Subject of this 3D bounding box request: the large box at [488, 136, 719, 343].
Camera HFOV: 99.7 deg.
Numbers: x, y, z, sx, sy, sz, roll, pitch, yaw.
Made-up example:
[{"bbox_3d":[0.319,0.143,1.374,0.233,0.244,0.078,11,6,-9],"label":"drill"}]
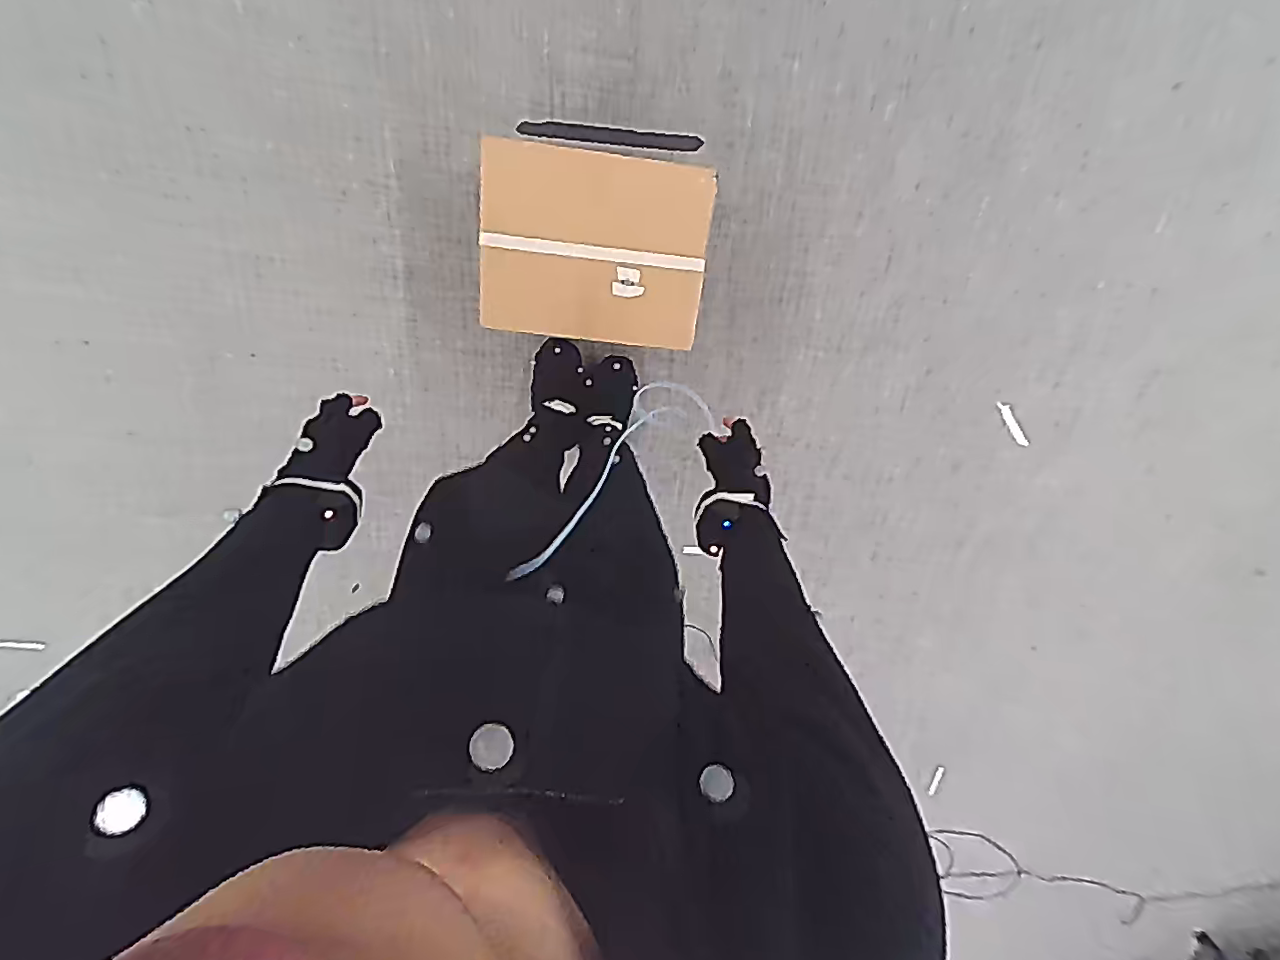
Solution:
[{"bbox_3d":[-0.083,-0.479,1.117,0.408,0.320,0.320,5,113,-6],"label":"large box"}]
